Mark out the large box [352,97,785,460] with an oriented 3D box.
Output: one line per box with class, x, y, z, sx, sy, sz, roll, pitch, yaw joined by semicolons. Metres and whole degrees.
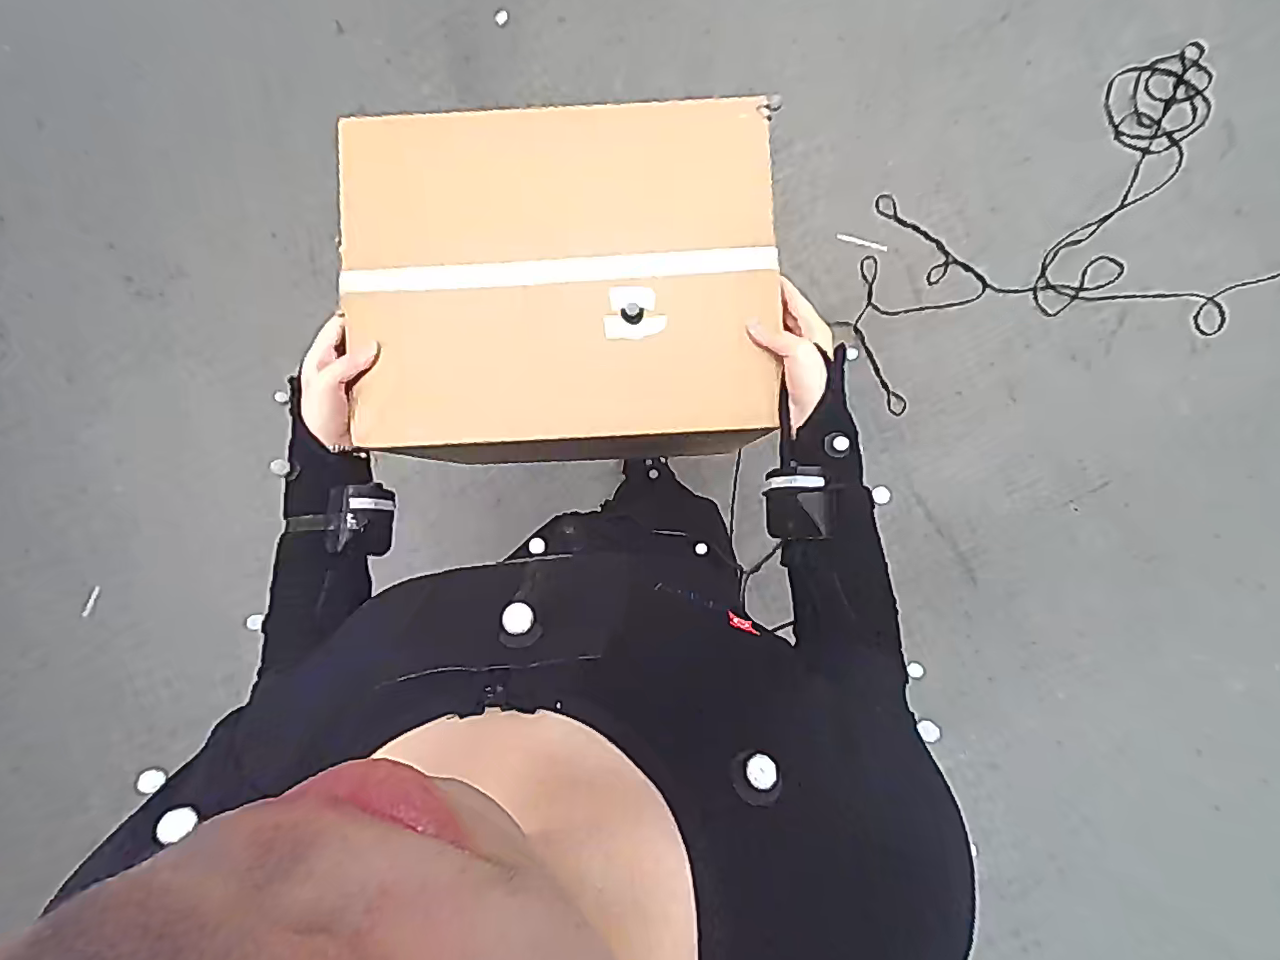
large box;-0.073;-0.200;0.662;0.408;0.320;0.320;-3;89;-1
